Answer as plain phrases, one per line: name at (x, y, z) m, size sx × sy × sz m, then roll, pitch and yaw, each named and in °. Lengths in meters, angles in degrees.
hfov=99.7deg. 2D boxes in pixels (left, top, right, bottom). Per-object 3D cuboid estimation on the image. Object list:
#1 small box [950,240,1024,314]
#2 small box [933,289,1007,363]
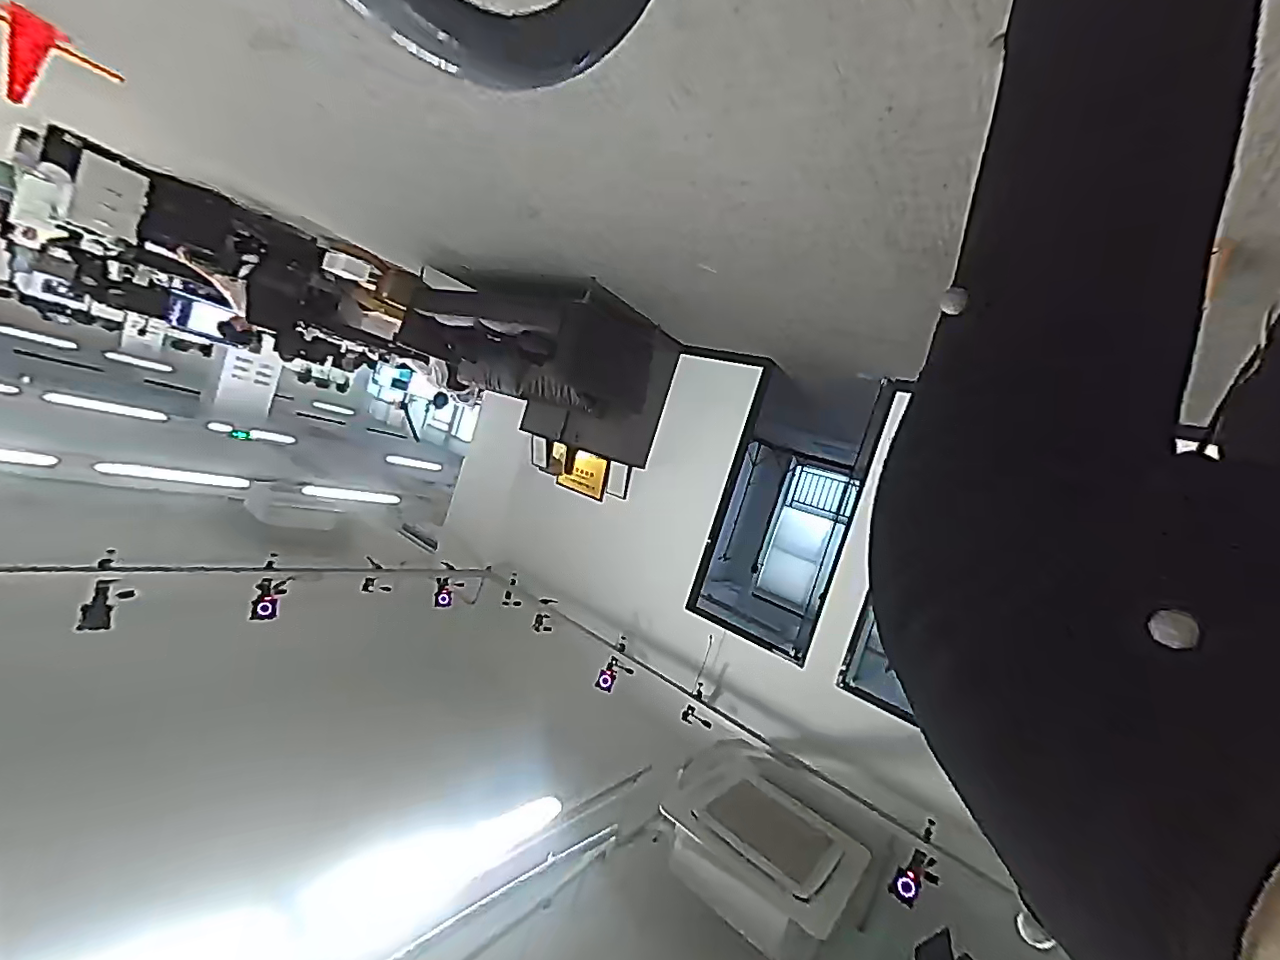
small box at (1.125, -0.661, 1.757) m, size 0.168 × 0.176 × 0.179 m, roll 20°, pitch -178°, yaw 32°
small box at (1.079, -0.504, 1.773) m, size 0.168 × 0.176 × 0.179 m, roll 18°, pitch -178°, yaw 28°
